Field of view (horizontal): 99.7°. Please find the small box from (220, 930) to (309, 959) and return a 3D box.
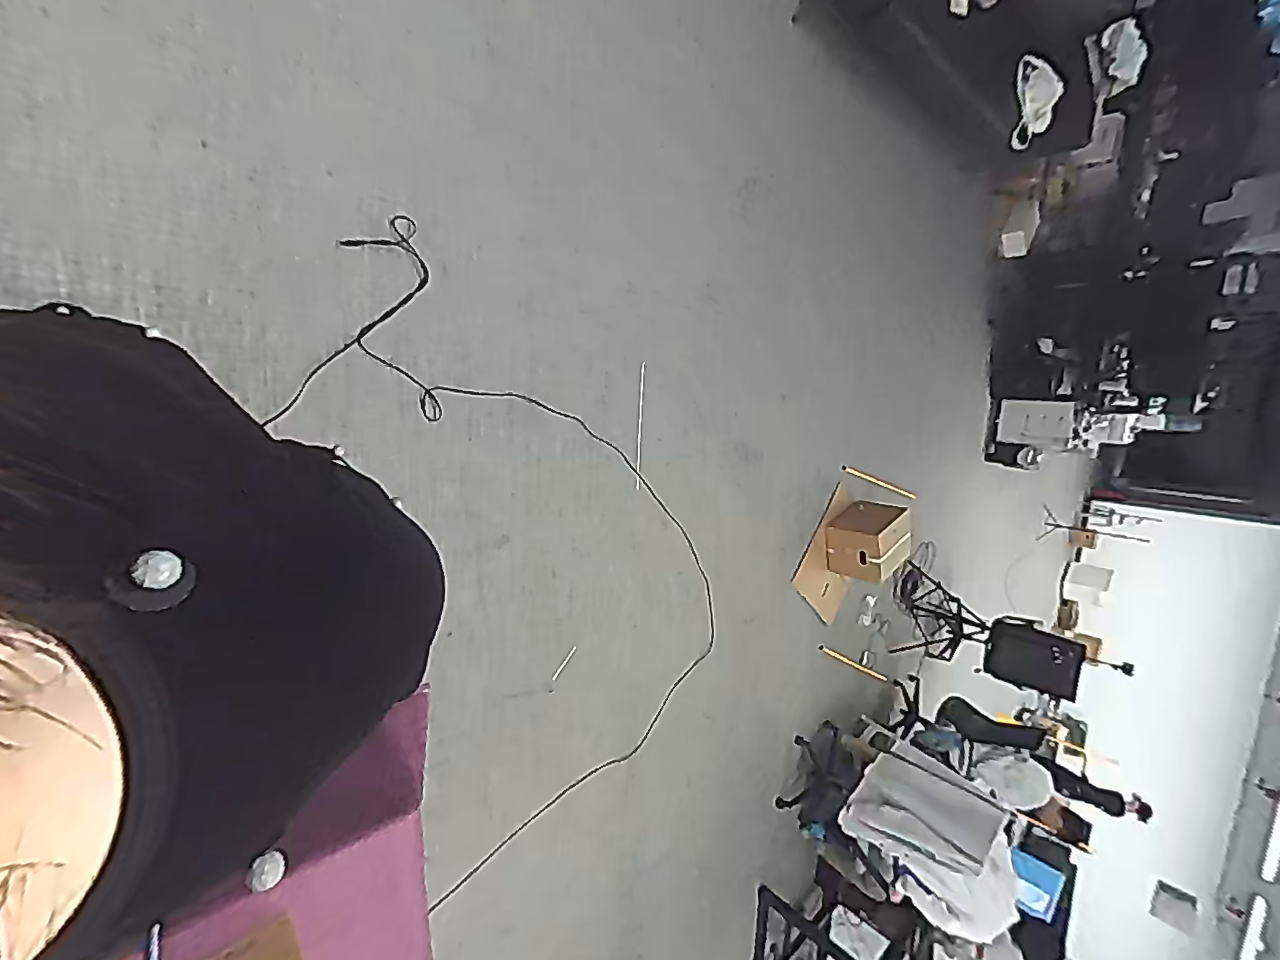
[{"bbox_3d":[-0.489,0.707,0.657,0.168,0.176,0.179,-8,104,-41],"label":"small box"}]
